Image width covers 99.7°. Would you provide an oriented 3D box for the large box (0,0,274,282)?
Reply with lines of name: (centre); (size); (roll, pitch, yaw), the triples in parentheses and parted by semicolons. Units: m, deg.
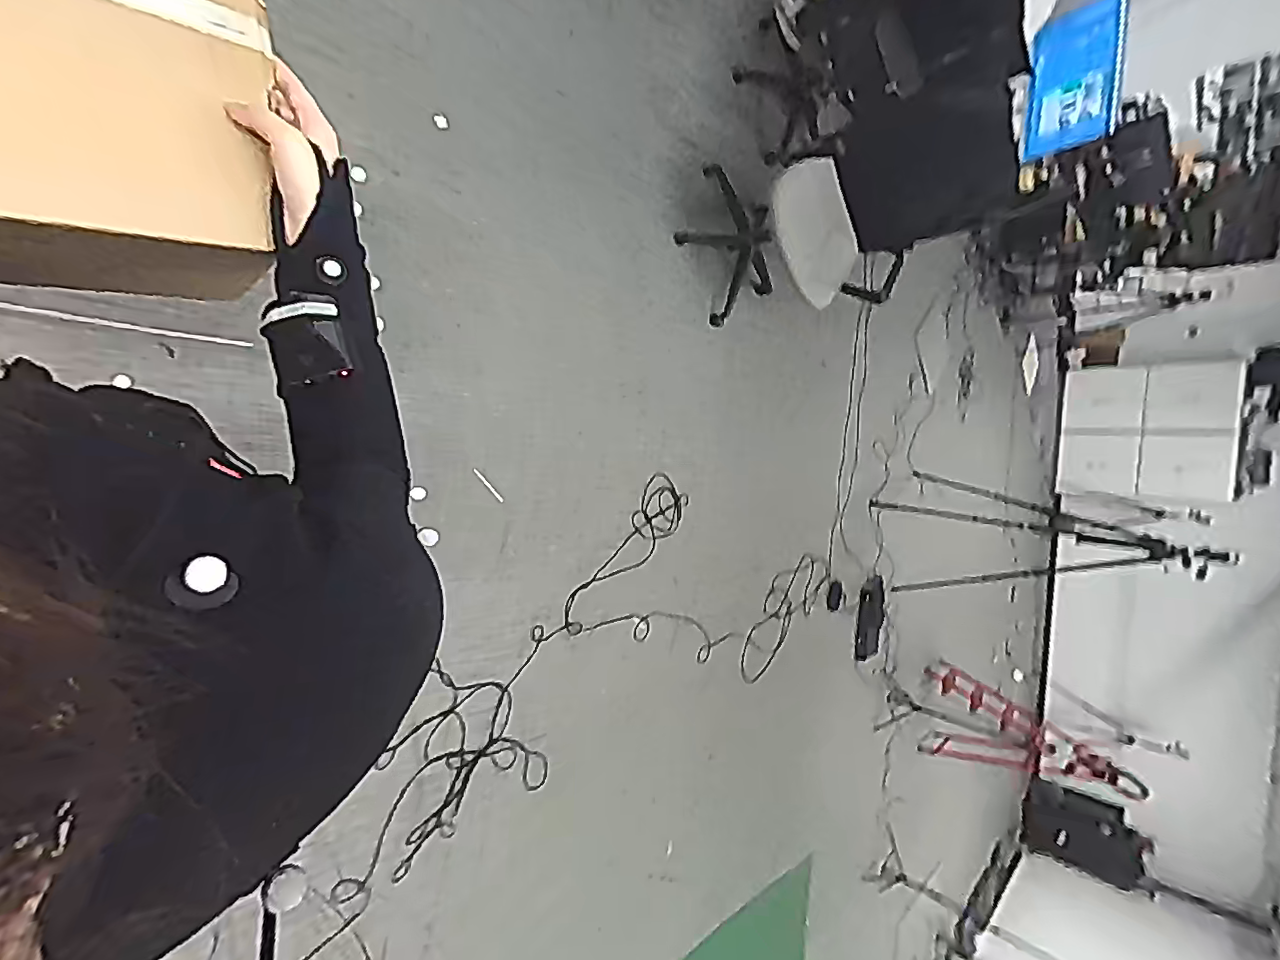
large box: (-0.554, -0.340, 0.404); (0.408, 0.320, 0.320); (-11, 104, -40)
